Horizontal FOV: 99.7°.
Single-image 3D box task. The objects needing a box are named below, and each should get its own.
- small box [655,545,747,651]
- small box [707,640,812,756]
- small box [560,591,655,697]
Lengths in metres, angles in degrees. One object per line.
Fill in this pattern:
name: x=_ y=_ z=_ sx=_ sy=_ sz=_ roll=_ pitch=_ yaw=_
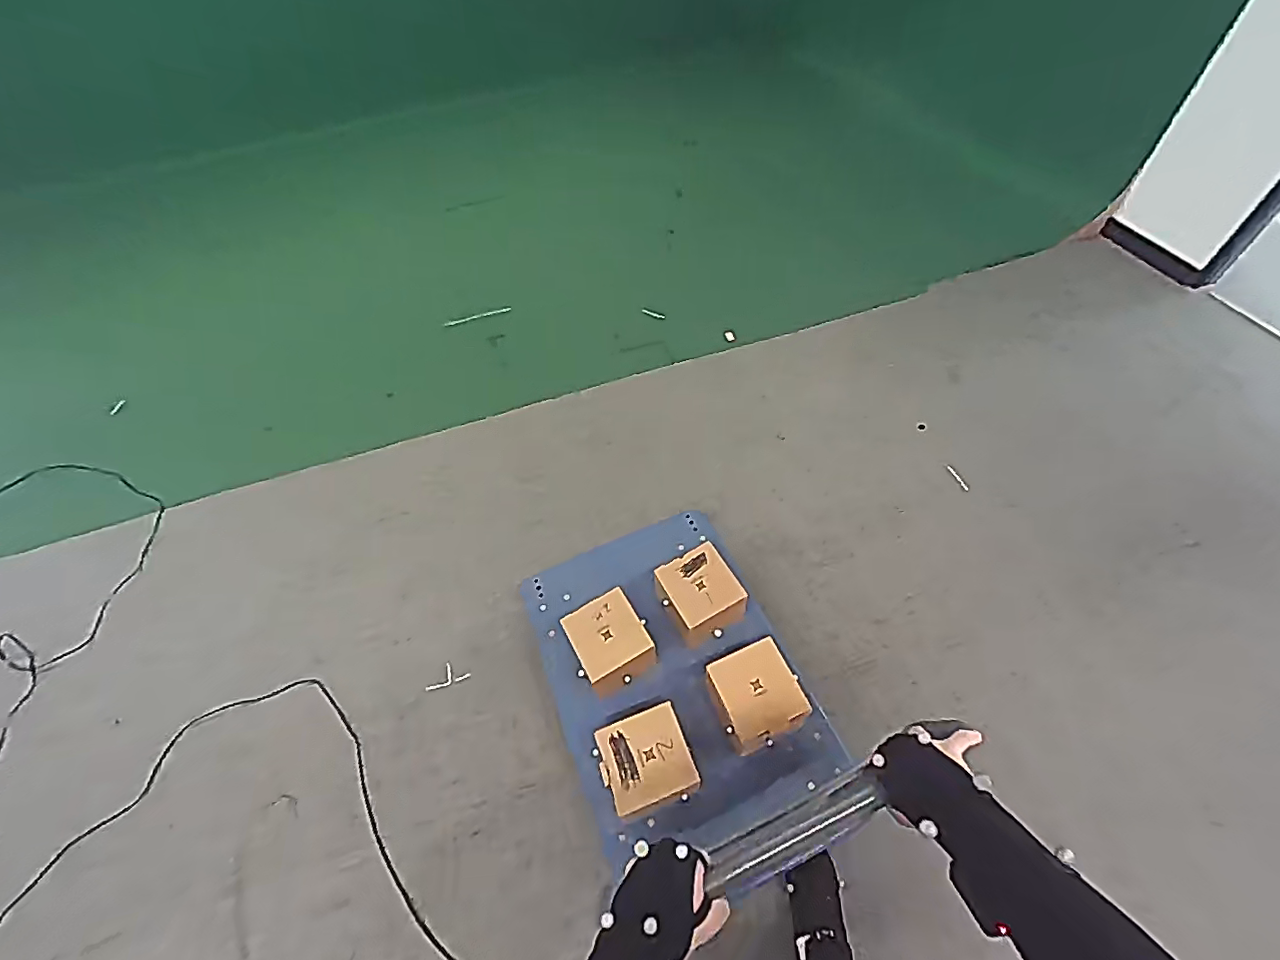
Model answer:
small box: x=0.151 y=0.303 z=1.378 sx=0.168 sy=0.176 sz=0.179 roll=-26 pitch=57 yaw=-12
small box: x=0.259 y=0.499 z=1.230 sx=0.168 sy=0.176 sz=0.179 roll=-22 pitch=56 yaw=-10
small box: x=-0.074 y=0.409 z=1.325 sx=0.168 sy=0.176 sz=0.179 roll=-27 pitch=56 yaw=-14
